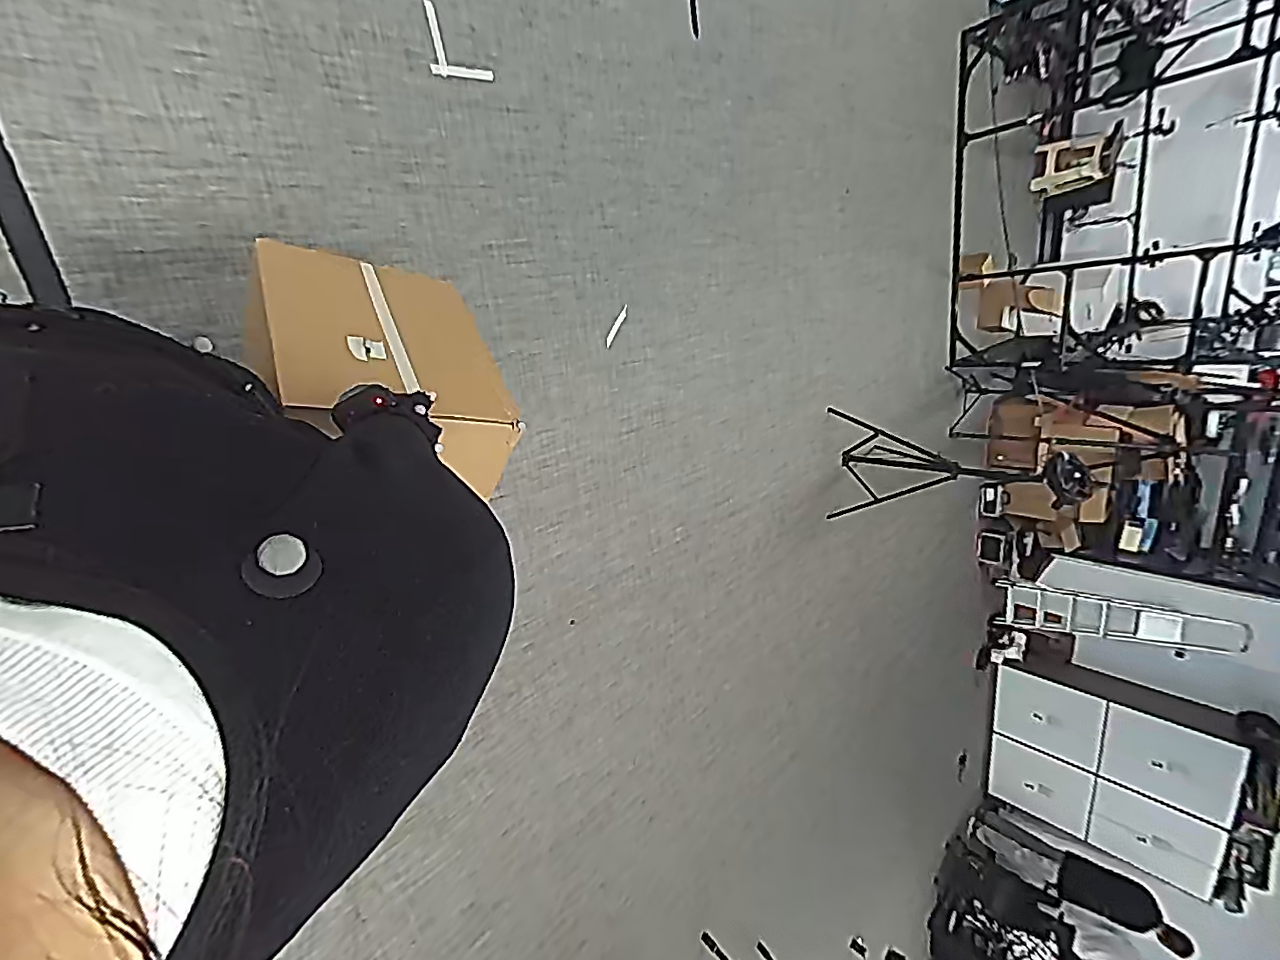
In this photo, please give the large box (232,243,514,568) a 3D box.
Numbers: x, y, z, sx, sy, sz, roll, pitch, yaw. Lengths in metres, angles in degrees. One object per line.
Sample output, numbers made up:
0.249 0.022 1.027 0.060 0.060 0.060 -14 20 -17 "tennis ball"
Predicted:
-0.465 -0.114 0.901 0.320 0.408 0.320 0 138 -40 "large box"
